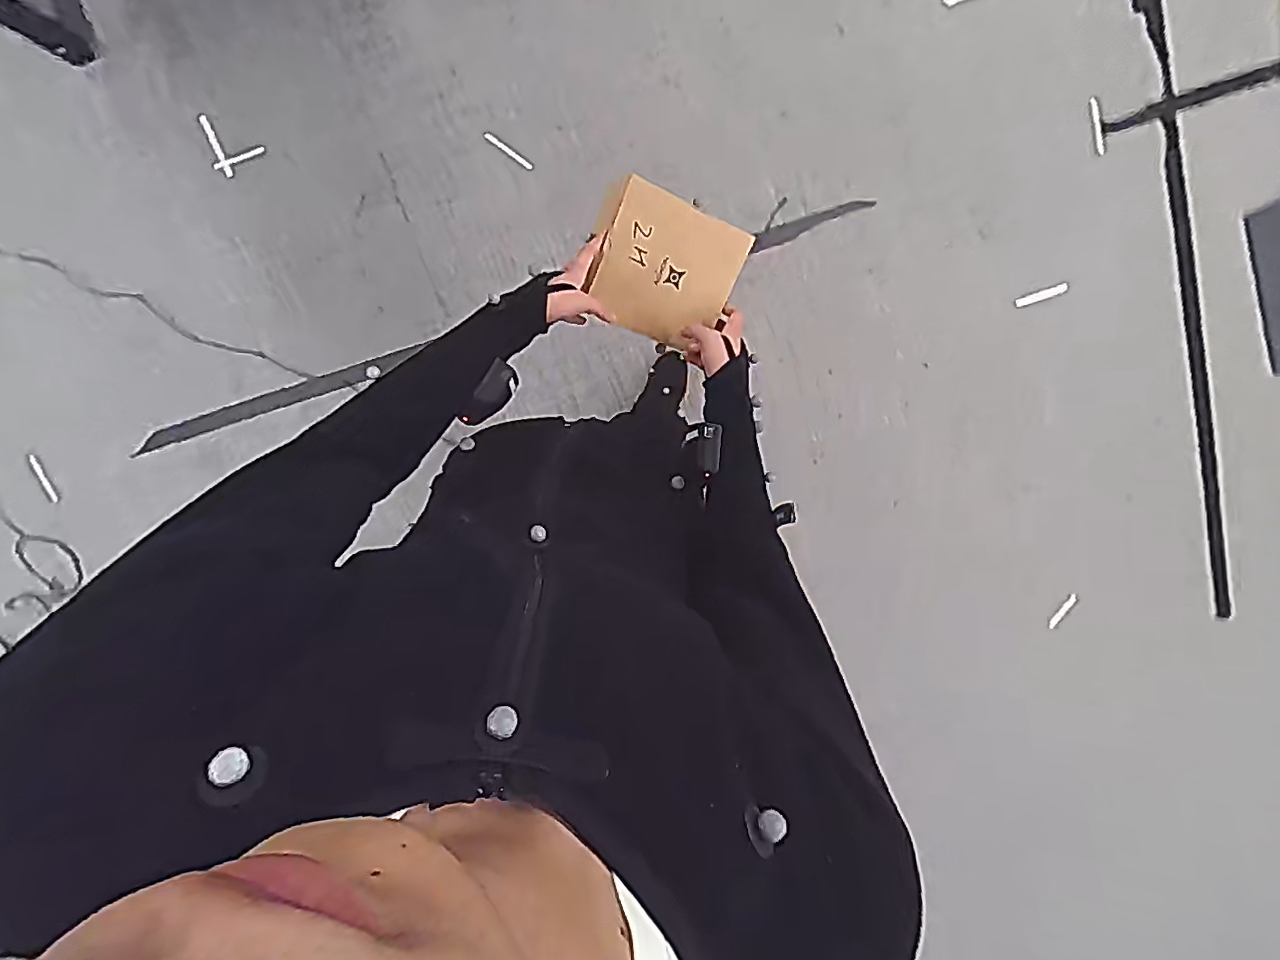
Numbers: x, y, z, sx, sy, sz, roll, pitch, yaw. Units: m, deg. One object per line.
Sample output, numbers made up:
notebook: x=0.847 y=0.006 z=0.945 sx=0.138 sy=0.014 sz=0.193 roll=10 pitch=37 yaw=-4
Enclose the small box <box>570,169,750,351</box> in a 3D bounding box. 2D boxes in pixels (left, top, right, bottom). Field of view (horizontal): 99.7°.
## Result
small box: x=0.015 y=-0.300 z=0.742 sx=0.179 sy=0.176 sz=0.168 roll=17 pitch=111 yaw=-19
